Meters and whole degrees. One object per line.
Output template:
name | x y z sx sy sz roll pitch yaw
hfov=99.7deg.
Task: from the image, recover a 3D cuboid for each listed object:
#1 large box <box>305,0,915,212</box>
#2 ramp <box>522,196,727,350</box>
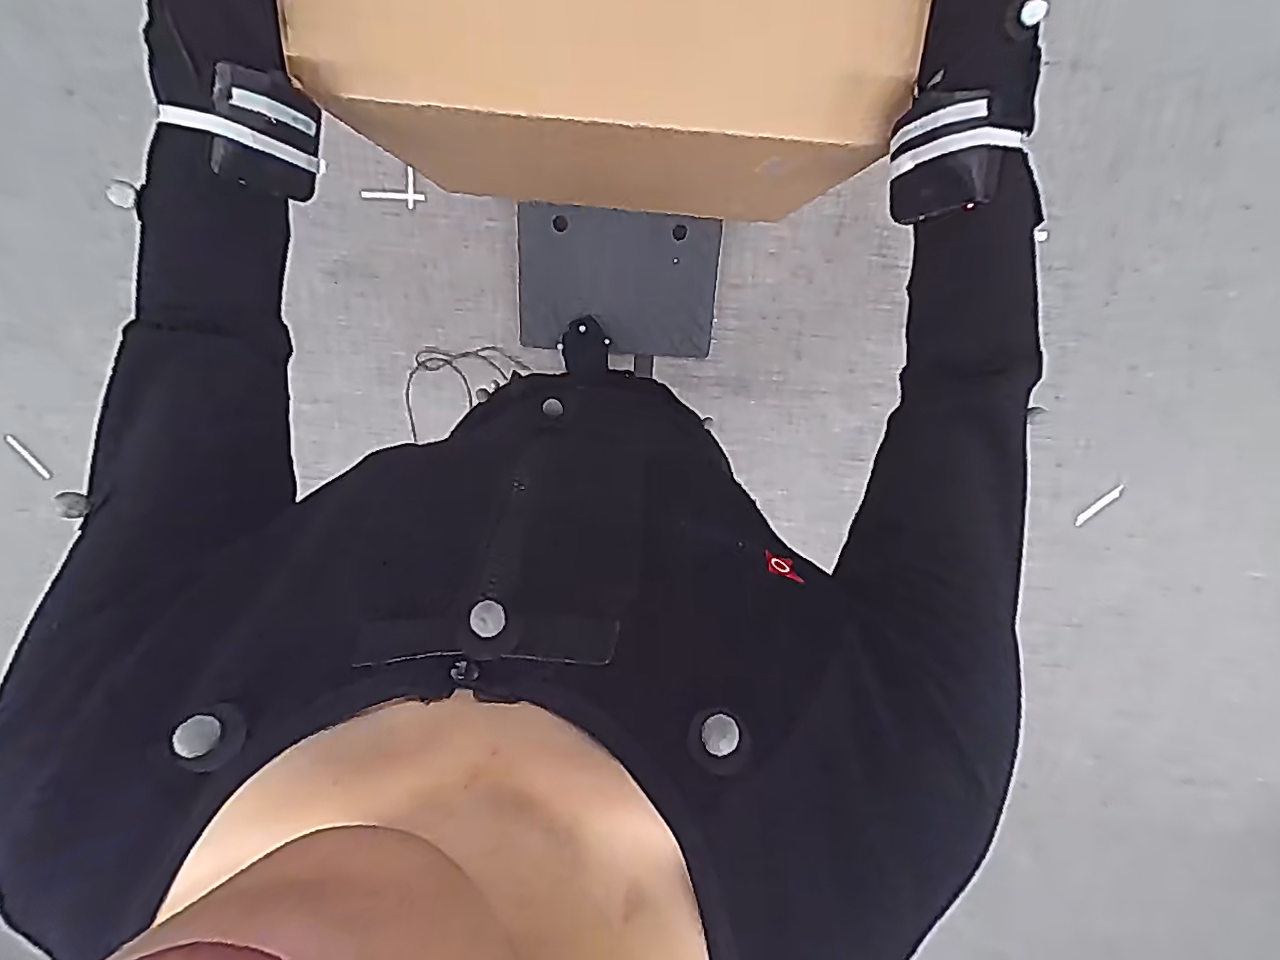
large box | -0.017 -0.439 0.468 0.408 0.320 0.320 3 107 -3
ramp | -0.025 -0.812 1.228 0.509 0.206 0.991 1 102 -2
